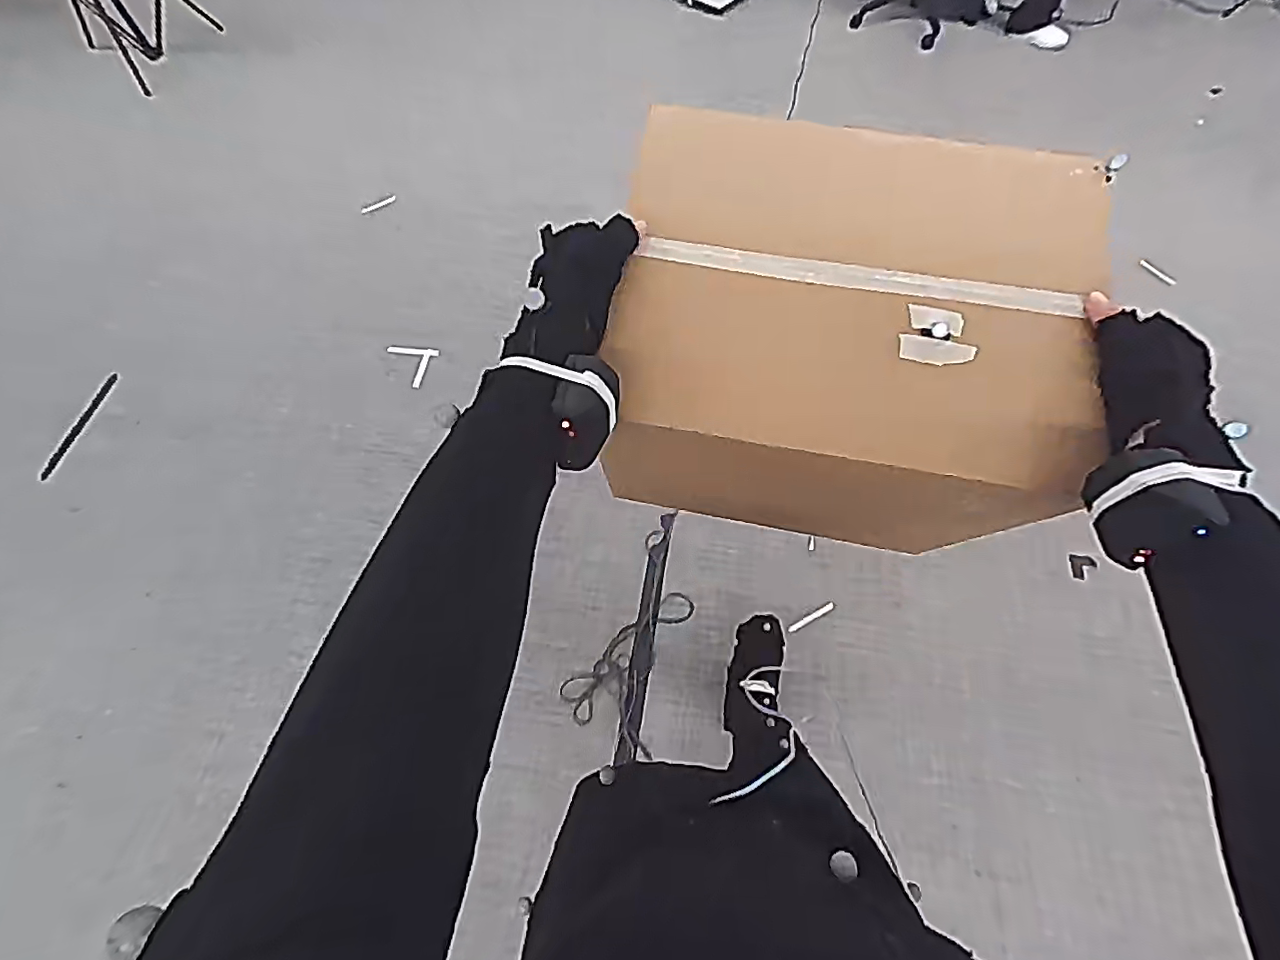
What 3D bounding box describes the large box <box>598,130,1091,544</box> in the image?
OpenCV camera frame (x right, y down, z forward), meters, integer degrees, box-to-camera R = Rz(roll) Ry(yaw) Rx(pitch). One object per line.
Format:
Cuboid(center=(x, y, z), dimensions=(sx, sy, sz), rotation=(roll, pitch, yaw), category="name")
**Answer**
Cuboid(center=(0.187, -0.128, 0.617), dimensions=(0.408, 0.320, 0.320), rotation=(10, 77, 5), category="large box")
